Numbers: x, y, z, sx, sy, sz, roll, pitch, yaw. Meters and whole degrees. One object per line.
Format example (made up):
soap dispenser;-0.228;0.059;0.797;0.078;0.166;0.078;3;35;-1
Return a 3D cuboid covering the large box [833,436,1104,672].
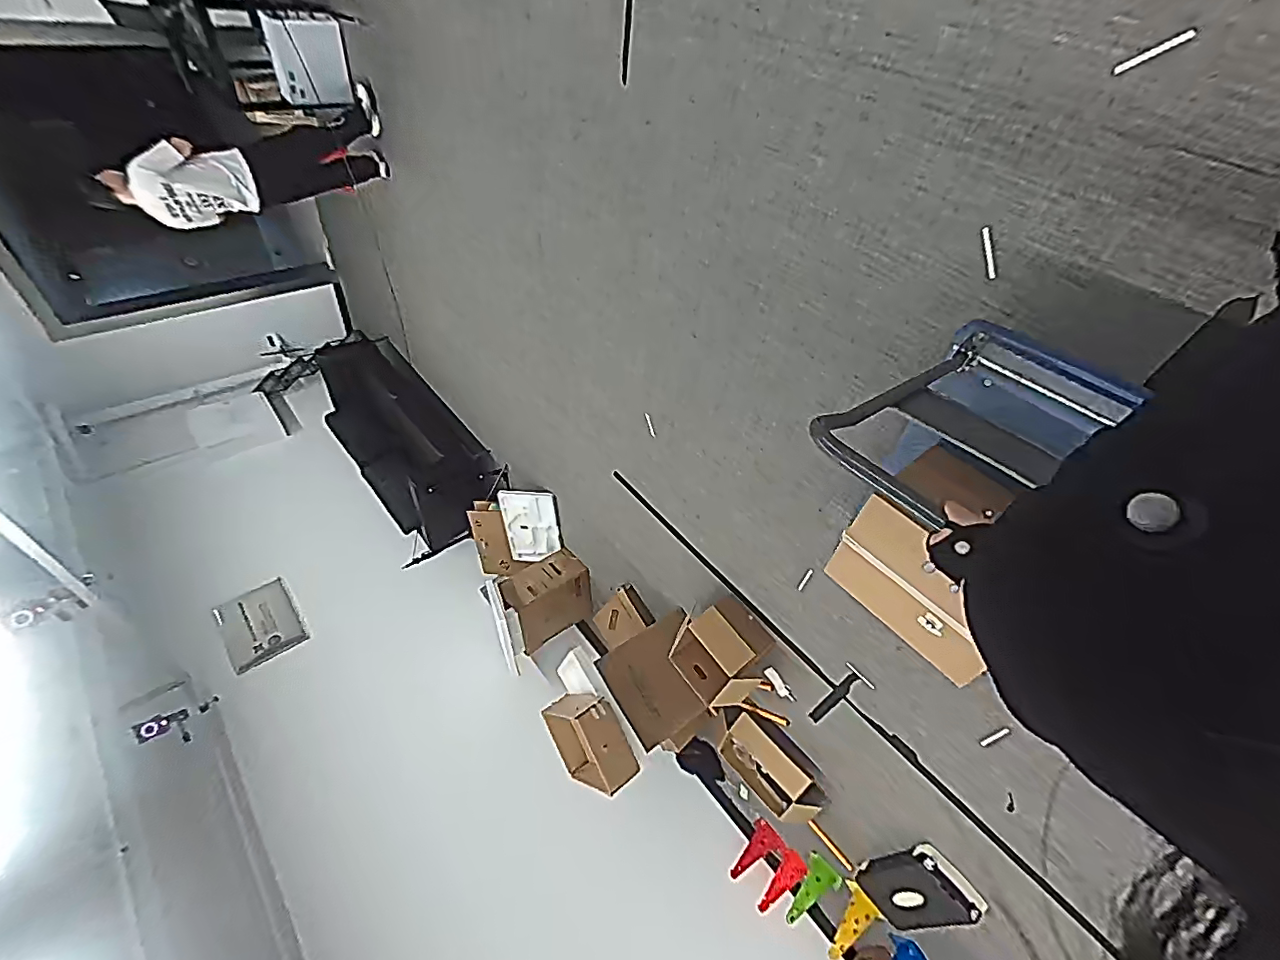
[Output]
large box;0.764;0.160;1.301;0.408;0.320;0.320;42;144;28
